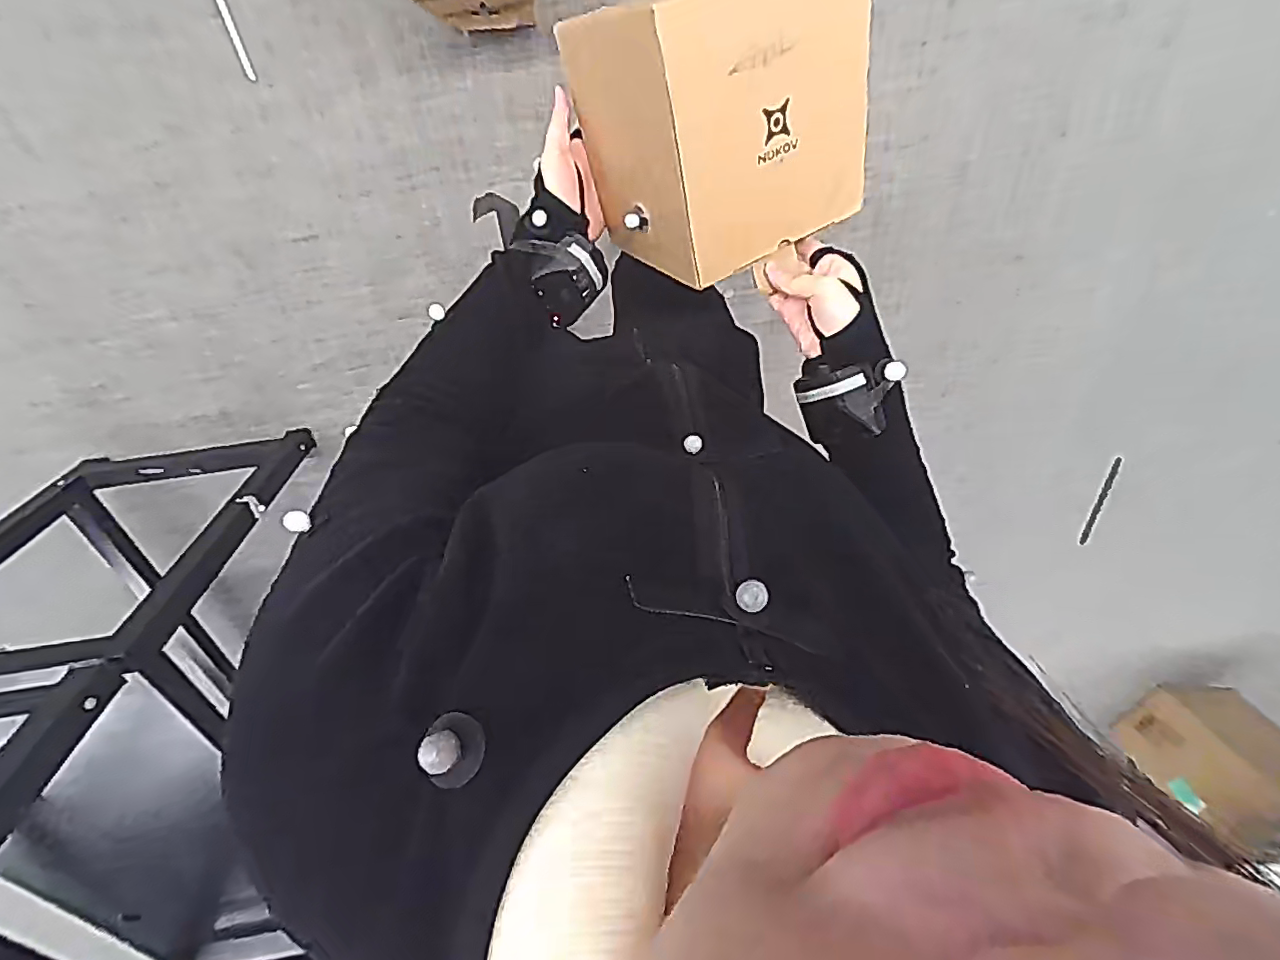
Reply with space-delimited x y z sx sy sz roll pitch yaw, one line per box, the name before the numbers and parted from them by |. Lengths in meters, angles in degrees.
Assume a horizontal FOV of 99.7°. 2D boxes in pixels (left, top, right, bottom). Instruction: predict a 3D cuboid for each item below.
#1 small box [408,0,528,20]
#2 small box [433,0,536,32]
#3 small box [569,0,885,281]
small box | -0.253 -0.776 0.760 0.179 0.176 0.168 -12 124 -2
small box | -0.269 -0.865 0.897 0.168 0.176 0.179 -7 124 -4
small box | 0.065 -0.290 0.433 0.168 0.176 0.179 -29 132 -13
